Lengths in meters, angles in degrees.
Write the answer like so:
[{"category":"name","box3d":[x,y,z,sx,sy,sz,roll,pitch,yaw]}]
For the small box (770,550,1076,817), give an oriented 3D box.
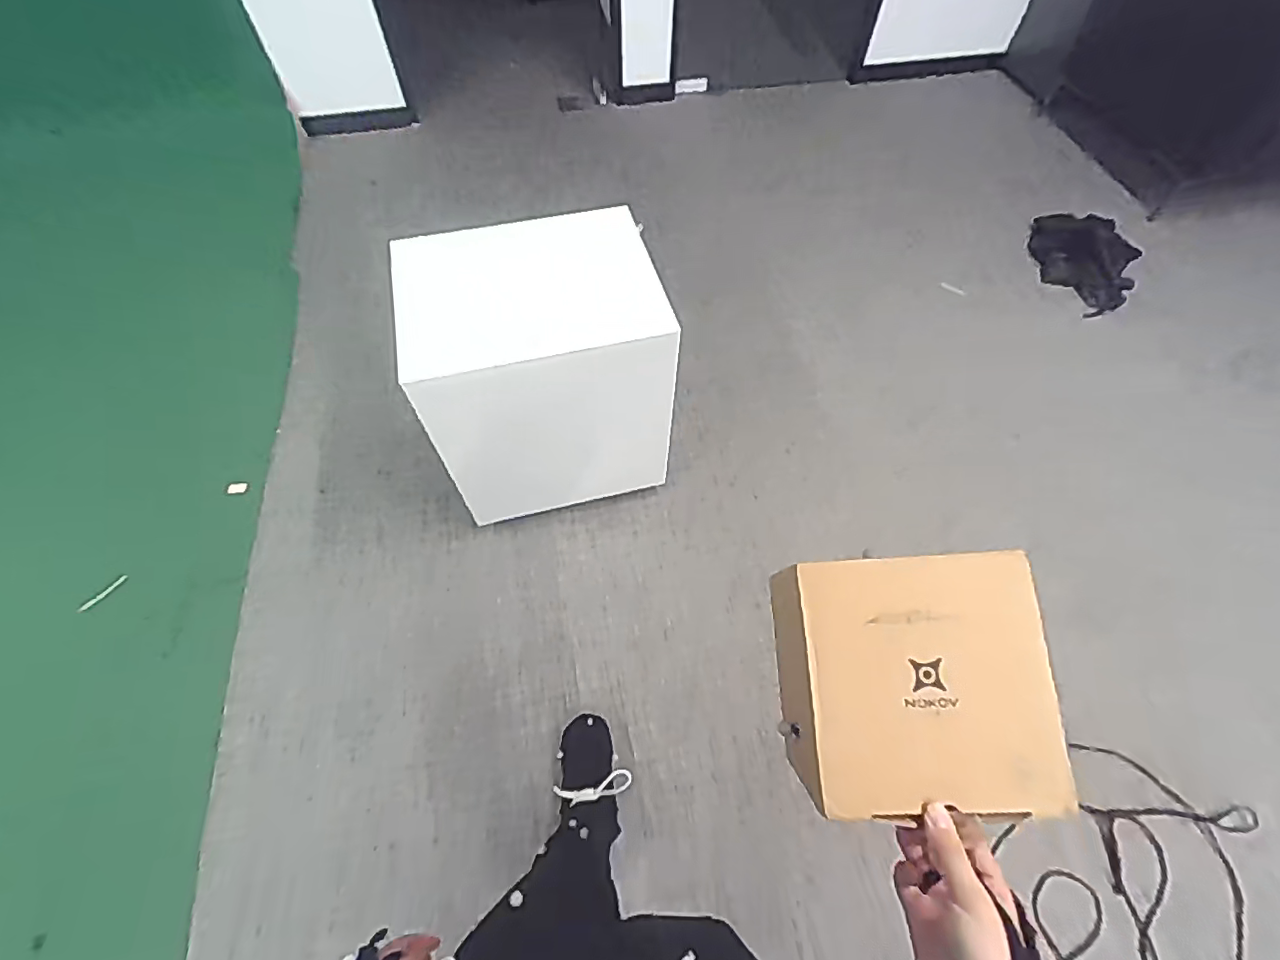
[{"category":"small box","box3d":[0.209,0.158,0.457,0.168,0.176,0.179,-4,75,4]}]
